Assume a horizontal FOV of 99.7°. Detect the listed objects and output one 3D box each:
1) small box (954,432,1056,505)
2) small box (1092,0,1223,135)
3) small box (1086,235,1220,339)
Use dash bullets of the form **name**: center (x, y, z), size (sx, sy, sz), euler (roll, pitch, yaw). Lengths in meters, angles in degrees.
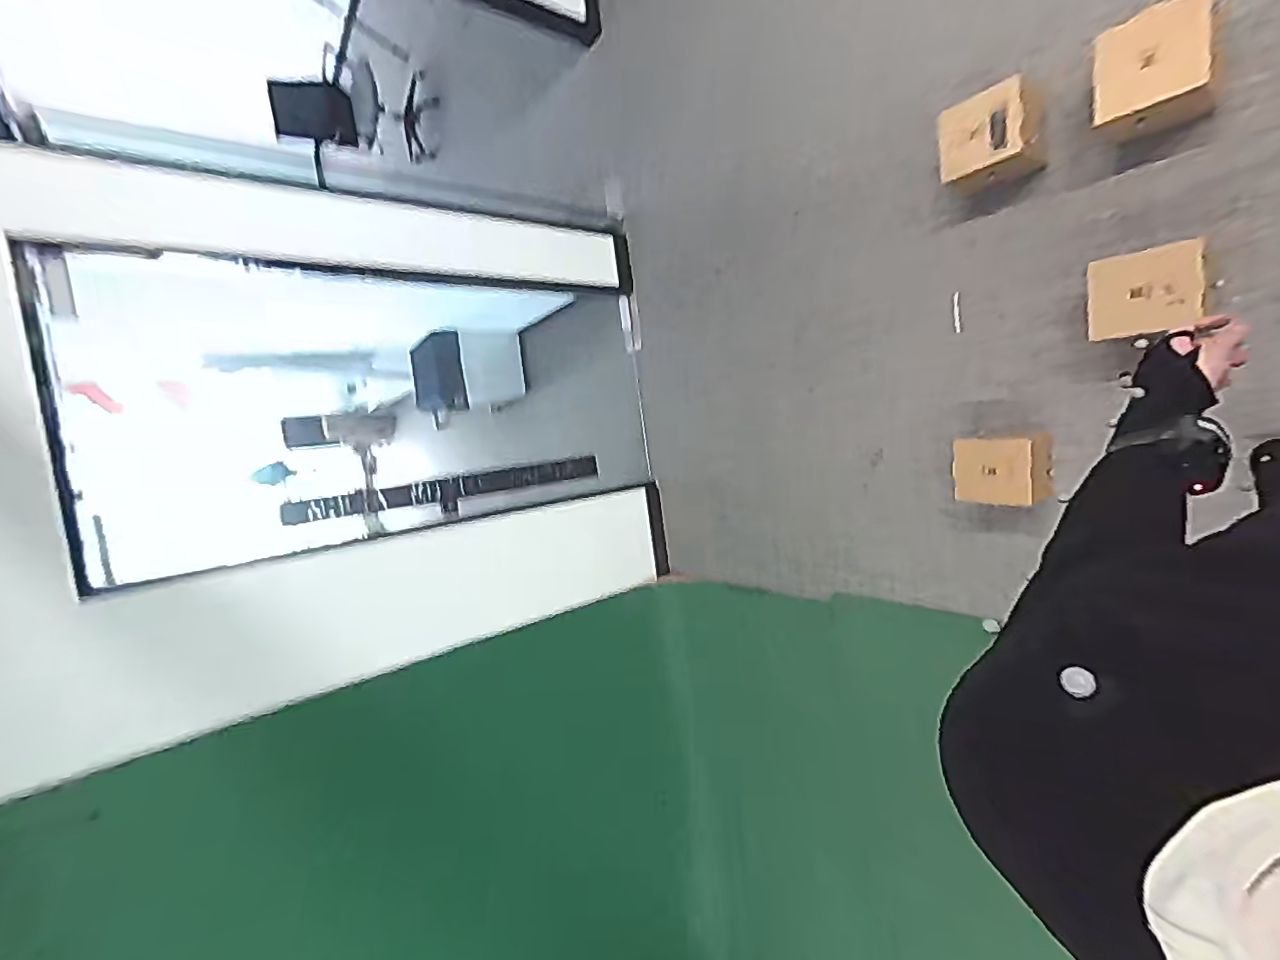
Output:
- **small box**: center (0.943, -0.034, 1.399), size (0.179, 0.176, 0.168), euler (4, 102, 53)
- **small box**: center (1.035, -0.822, 1.081), size (0.168, 0.176, 0.179), euler (3, 100, 53)
- **small box**: center (1.072, -0.392, 1.132), size (0.179, 0.176, 0.168), euler (2, 101, 53)
